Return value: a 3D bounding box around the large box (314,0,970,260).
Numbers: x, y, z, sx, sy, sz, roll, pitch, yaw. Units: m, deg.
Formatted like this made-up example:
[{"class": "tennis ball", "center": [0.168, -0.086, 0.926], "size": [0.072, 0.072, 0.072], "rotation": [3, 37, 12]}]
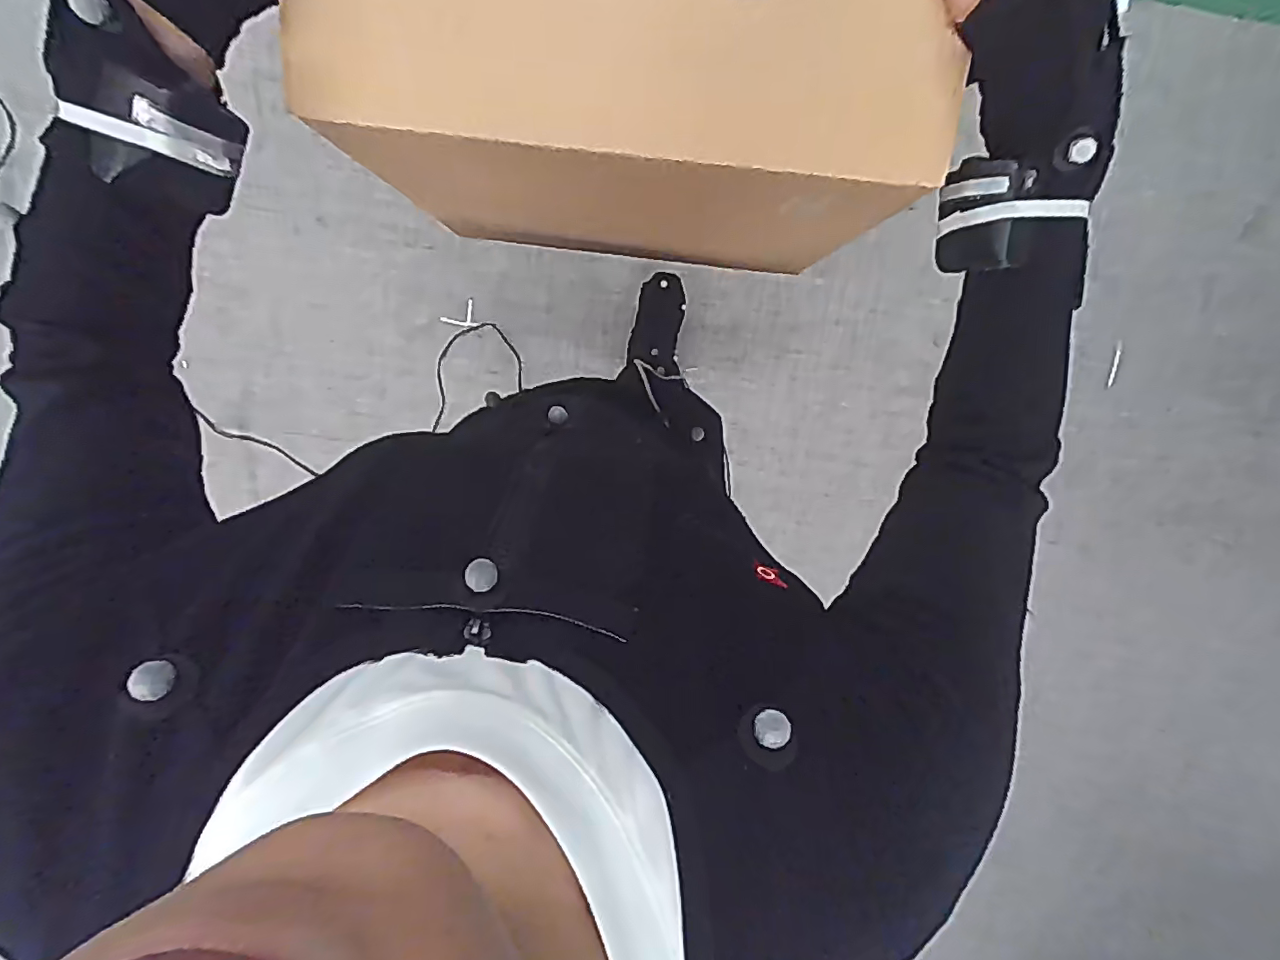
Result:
[{"class": "large box", "center": [0.006, -0.391, 0.459], "size": [0.408, 0.320, 0.320], "rotation": [5, 102, -1]}]
